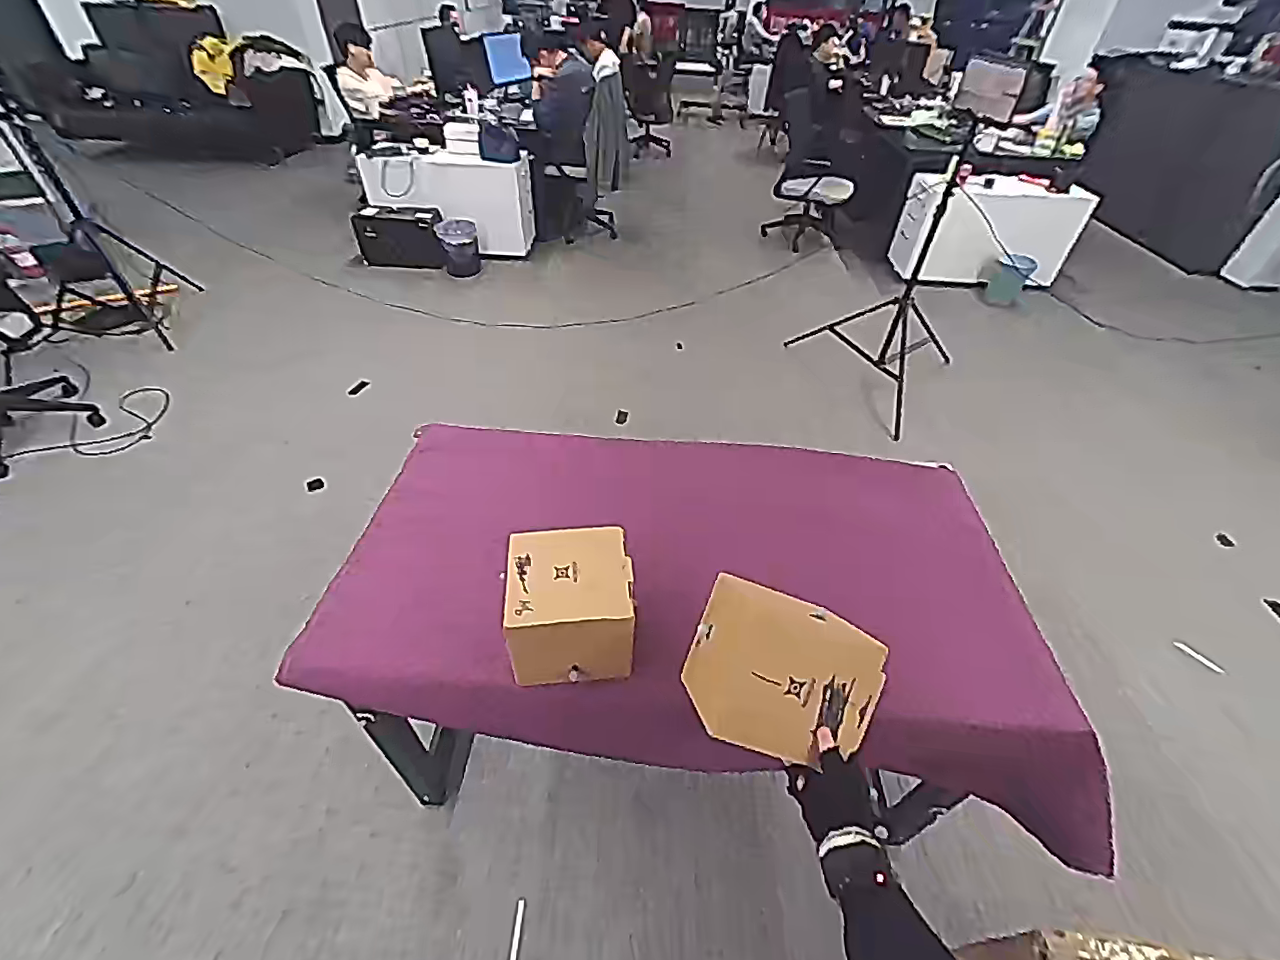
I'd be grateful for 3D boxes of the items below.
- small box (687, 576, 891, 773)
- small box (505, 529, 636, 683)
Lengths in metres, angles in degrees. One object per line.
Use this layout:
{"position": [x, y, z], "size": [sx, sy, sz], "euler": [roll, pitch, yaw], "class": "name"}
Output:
{"position": [0.181, 0.241, 0.711], "size": [0.179, 0.168, 0.176], "euler": [21, 0, -7], "class": "small box"}
{"position": [-0.105, 0.194, 0.833], "size": [0.179, 0.176, 0.168], "euler": [-2, 42, -7], "class": "small box"}
